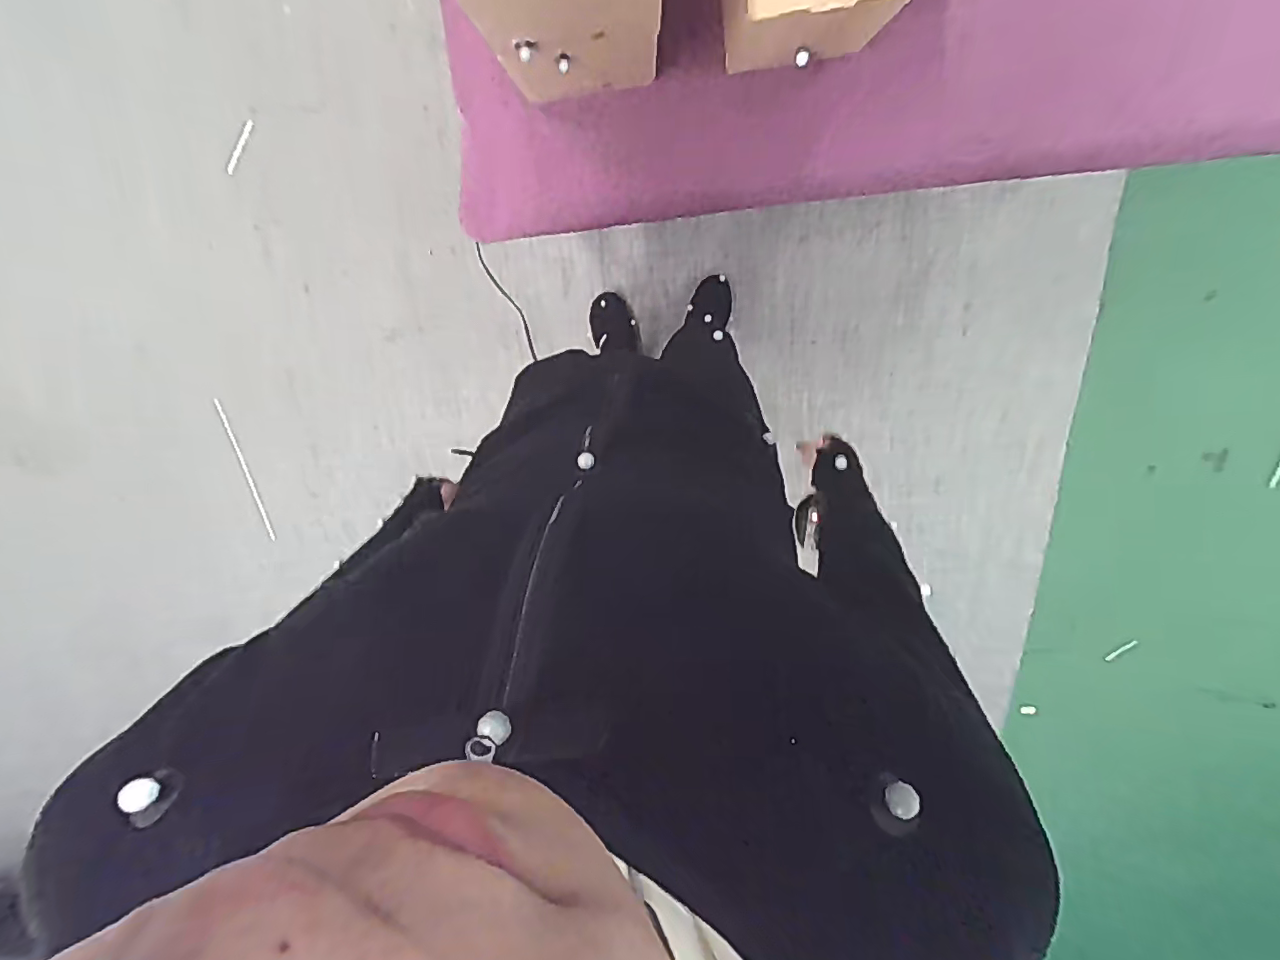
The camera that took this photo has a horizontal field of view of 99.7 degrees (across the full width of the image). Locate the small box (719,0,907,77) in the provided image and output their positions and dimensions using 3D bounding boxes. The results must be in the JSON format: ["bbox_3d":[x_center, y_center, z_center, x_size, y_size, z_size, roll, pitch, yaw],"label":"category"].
[{"bbox_3d":[0.173,-0.567,0.572,0.168,0.176,0.179,-7,112,4],"label":"small box"}]

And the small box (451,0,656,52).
[{"bbox_3d":[-0.075,-0.477,0.431,0.168,0.176,0.179,-7,111,2],"label":"small box"}]
